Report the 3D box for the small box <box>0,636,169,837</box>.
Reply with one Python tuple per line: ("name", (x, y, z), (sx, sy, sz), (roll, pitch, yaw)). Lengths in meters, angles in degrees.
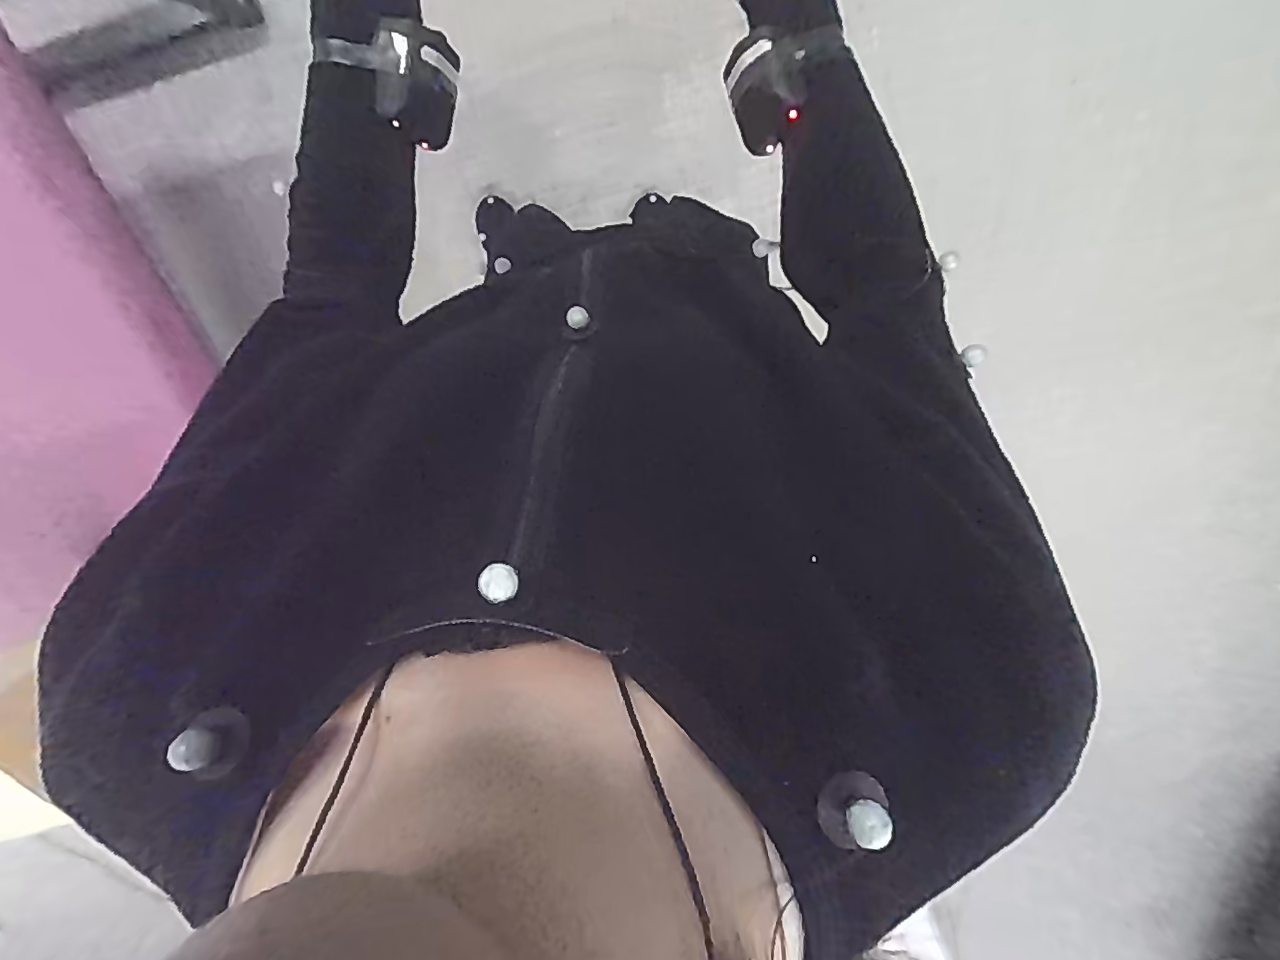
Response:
("small box", (-0.794, 0.326, 0.705), (0.168, 0.176, 0.179), (-18, 118, 8))
